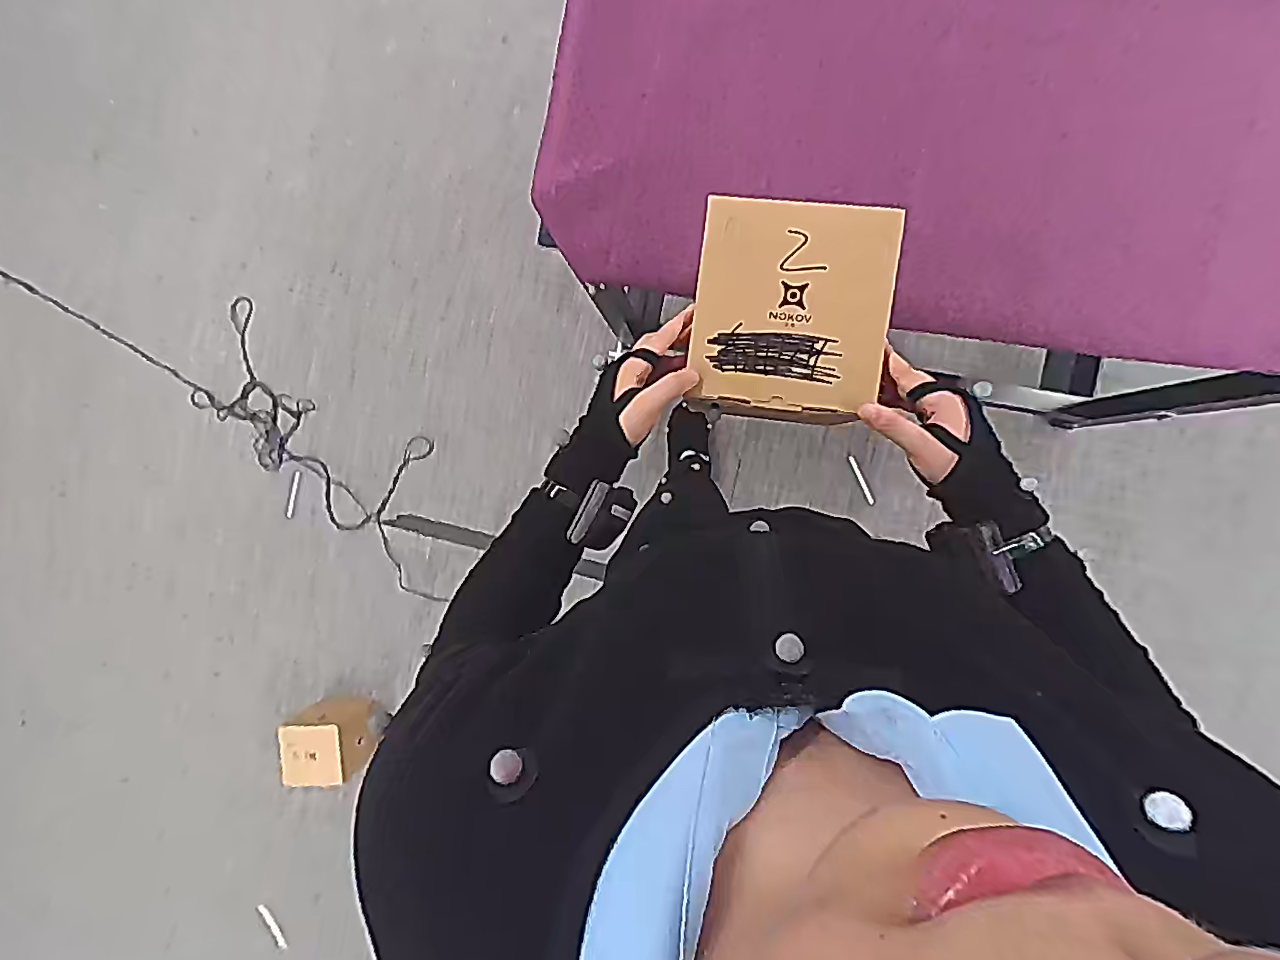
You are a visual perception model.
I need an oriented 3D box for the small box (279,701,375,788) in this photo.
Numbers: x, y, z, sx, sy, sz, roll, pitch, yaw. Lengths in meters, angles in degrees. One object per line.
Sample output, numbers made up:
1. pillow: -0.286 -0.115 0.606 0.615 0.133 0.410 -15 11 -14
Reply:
1. small box: -0.869 0.738 1.521 0.179 0.176 0.168 -4 91 6
